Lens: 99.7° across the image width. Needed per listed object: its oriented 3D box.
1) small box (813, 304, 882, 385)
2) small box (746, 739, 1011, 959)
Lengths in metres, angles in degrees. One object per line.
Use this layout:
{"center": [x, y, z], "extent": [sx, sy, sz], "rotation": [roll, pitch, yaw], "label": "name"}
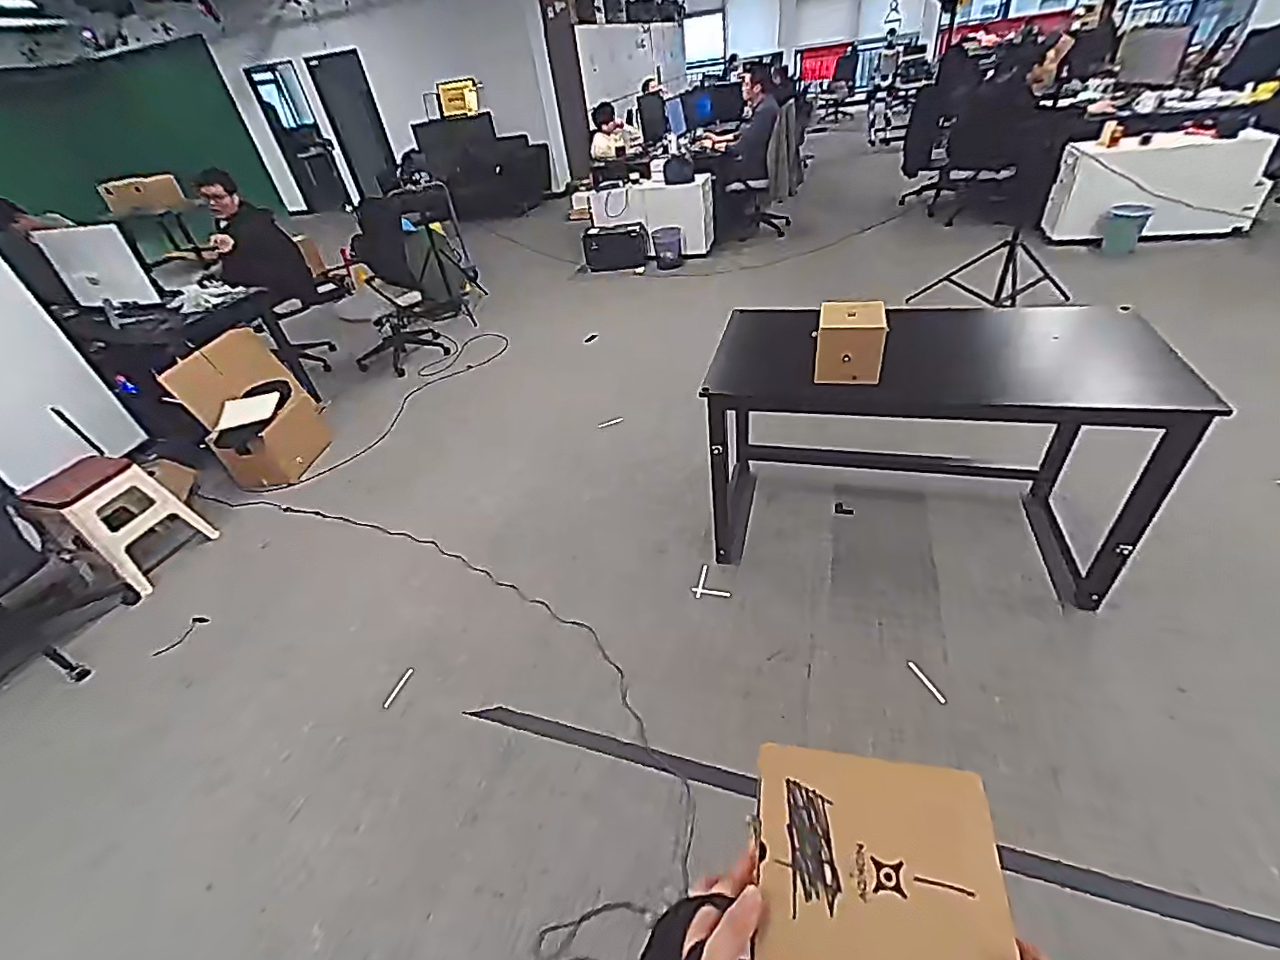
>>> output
{"center": [0.580, -0.379, 1.518], "extent": [0.168, 0.176, 0.179], "rotation": [5, 40, 17], "label": "small box"}
{"center": [0.185, 0.348, 0.467], "extent": [0.179, 0.176, 0.168], "rotation": [2, 47, 13], "label": "small box"}
